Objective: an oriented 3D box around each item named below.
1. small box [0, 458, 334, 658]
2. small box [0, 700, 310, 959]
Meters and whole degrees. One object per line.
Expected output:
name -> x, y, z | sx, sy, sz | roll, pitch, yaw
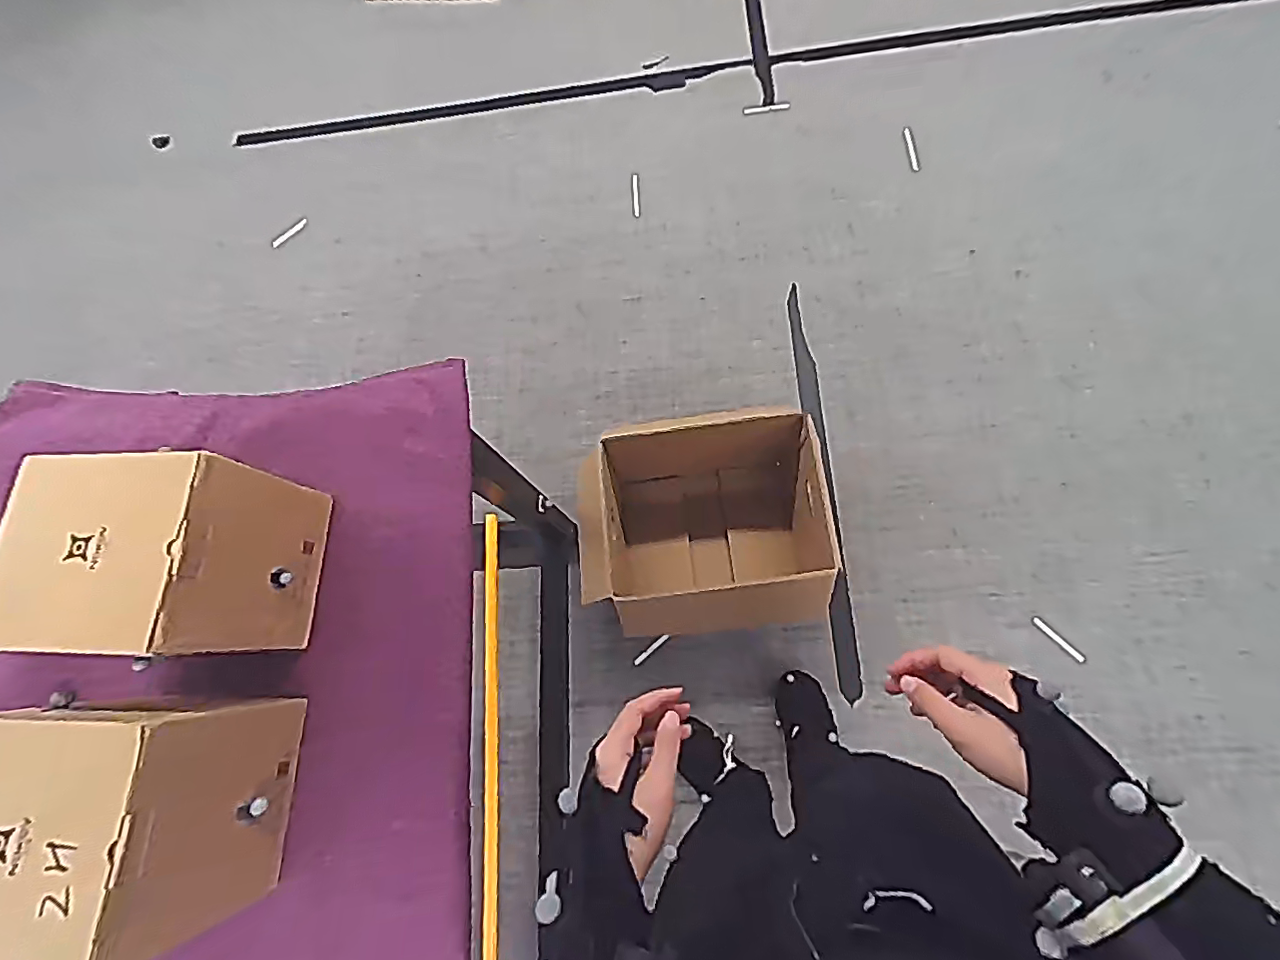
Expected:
small box -> -0.442, 0.084, 0.524 | 0.179, 0.176, 0.168 | -2, 74, 7
small box -> -0.430, 0.285, 0.461 | 0.179, 0.176, 0.168 | -2, 73, 7
